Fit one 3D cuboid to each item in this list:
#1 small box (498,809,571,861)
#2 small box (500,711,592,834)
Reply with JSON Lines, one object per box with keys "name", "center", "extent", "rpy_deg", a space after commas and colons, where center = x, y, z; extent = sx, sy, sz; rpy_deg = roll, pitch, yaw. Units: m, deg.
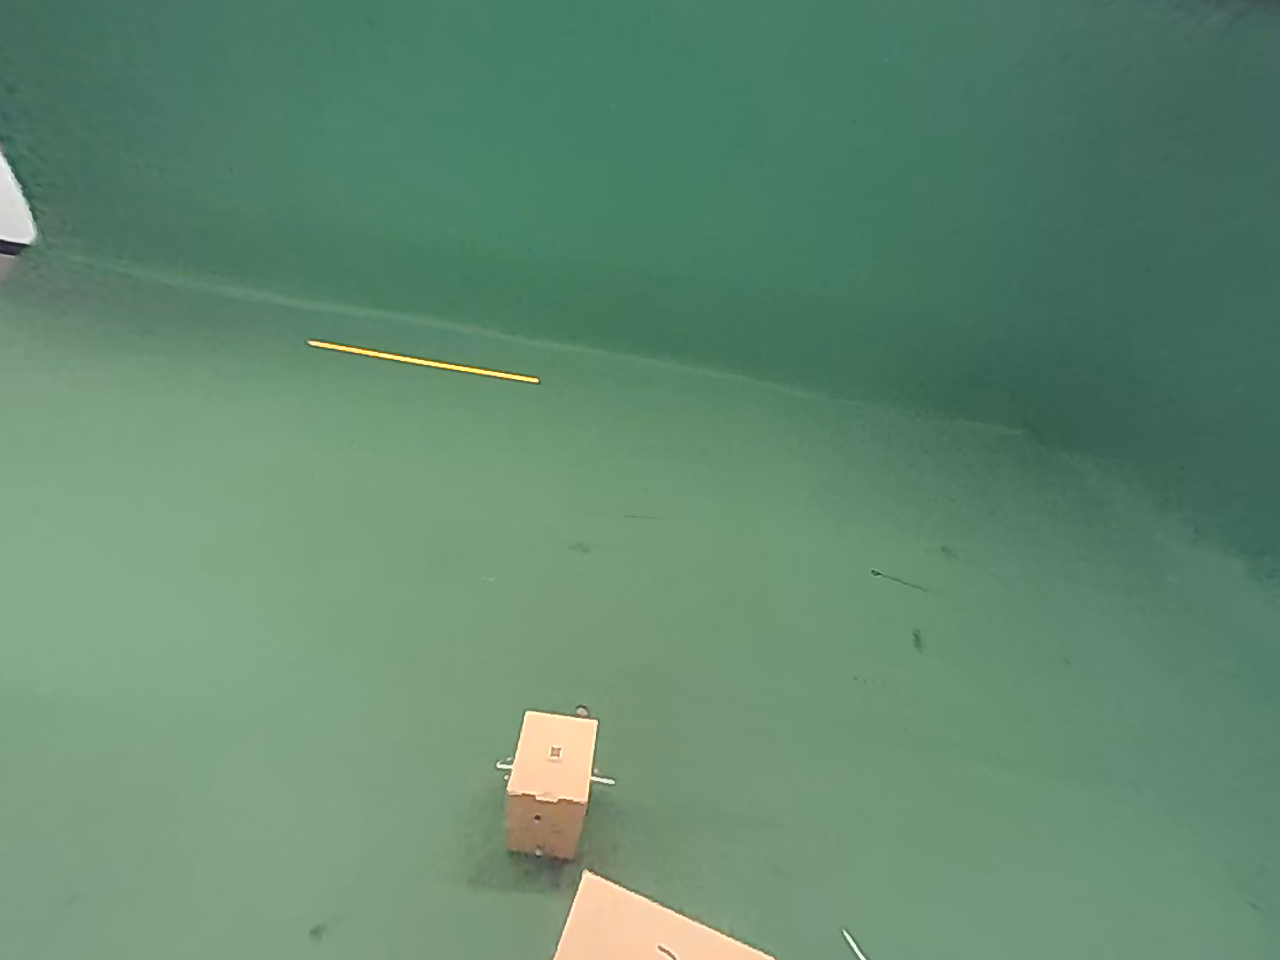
{"name": "small box", "center": [-0.238, 0.768, 1.286], "extent": [0.168, 0.176, 0.179], "rpy_deg": [10, 38, -3]}
{"name": "small box", "center": [-0.208, 0.642, 1.189], "extent": [0.168, 0.176, 0.179], "rpy_deg": [10, 38, -4]}
